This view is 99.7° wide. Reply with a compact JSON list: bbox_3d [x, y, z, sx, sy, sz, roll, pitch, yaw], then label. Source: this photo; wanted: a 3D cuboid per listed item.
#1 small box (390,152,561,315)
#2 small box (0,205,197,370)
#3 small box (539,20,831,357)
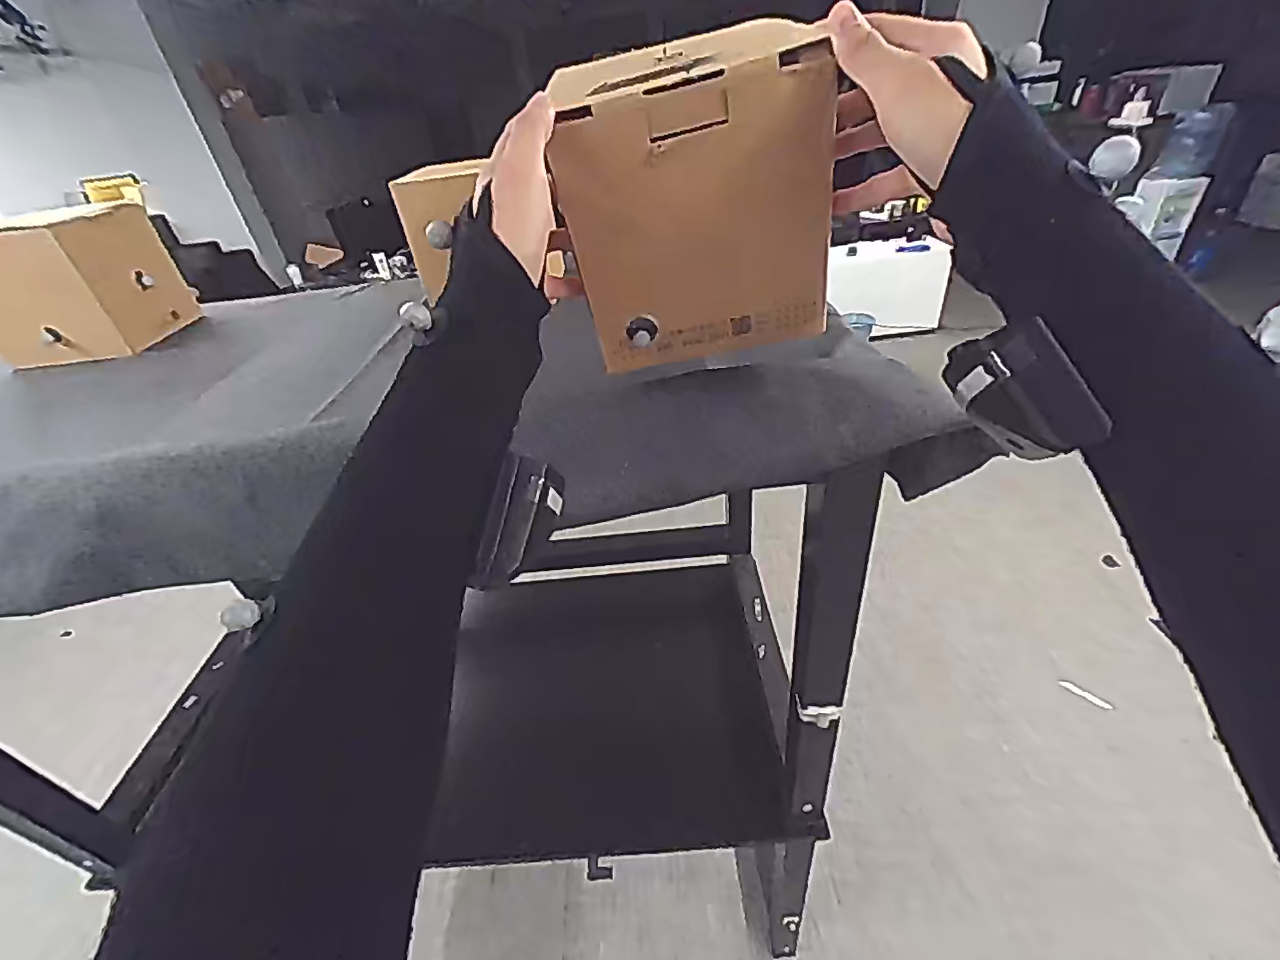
[{"bbox_3d":[-0.208,-0.334,0.742,0.168,0.176,0.179,-7,36,1],"label":"small box"},{"bbox_3d":[-0.781,-0.267,0.749,0.179,0.176,0.168,-6,36,0],"label":"small box"},{"bbox_3d":[0.035,-0.207,0.405,0.168,0.176,0.179,-10,44,6],"label":"small box"}]
